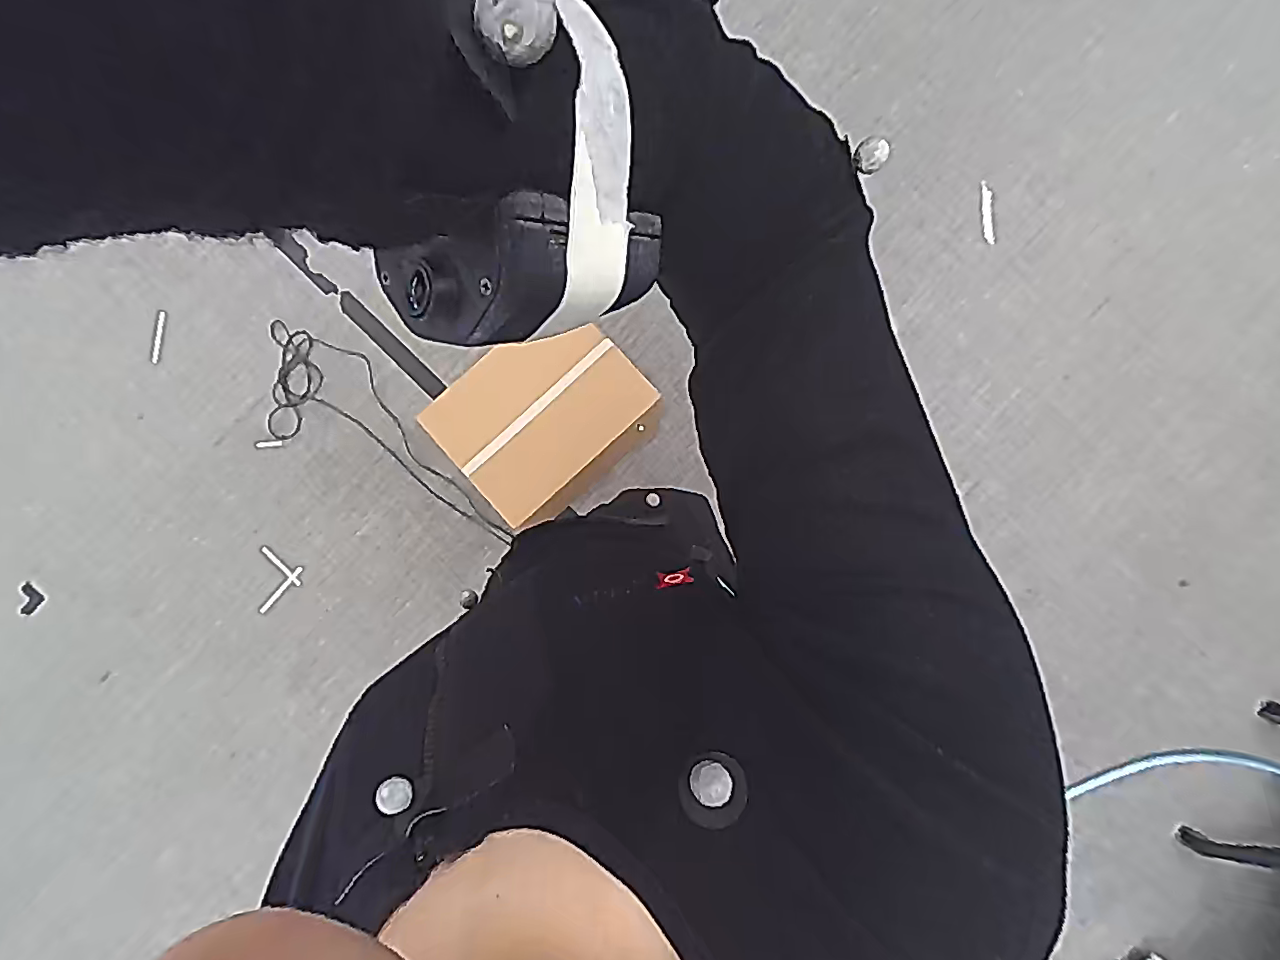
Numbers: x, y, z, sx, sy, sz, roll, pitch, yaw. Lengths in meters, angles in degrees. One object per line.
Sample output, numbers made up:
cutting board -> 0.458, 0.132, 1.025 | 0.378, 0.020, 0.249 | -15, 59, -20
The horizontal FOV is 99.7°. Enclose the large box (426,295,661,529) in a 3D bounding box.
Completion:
large box -> -0.195, -0.136, 1.259 | 0.408, 0.320, 0.320 | -42, 85, -1
